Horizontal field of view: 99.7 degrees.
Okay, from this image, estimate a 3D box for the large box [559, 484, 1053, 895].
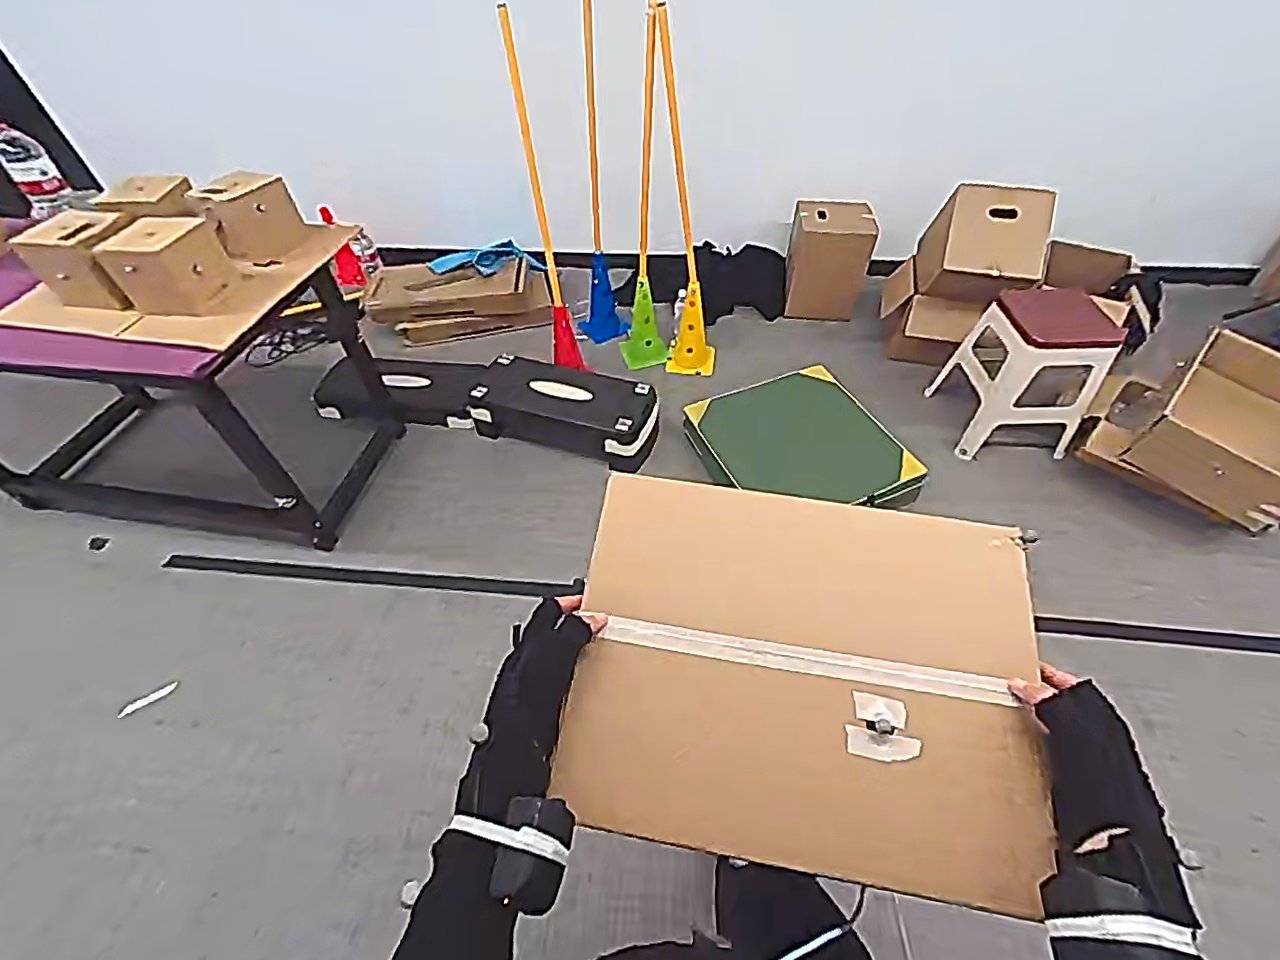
[{"bbox_3d":[0.151,0.226,0.631,0.408,0.320,0.320,8,66,6],"label":"large box"}]
